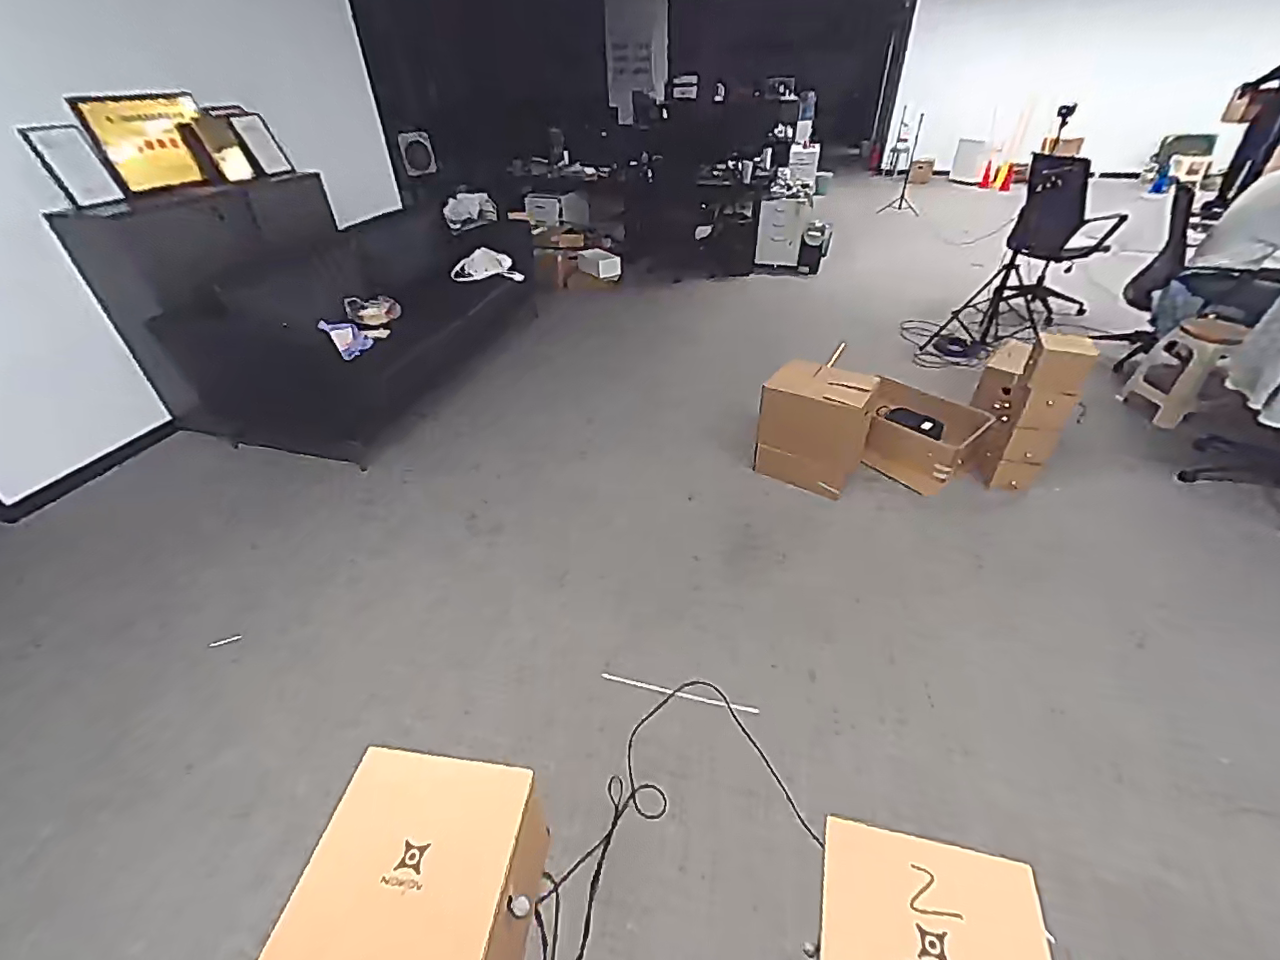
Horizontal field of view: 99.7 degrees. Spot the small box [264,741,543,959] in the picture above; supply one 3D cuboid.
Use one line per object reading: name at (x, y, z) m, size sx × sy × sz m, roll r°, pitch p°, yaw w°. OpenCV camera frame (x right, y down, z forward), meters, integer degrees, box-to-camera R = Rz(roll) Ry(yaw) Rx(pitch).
small box at (-0.193, 0.380, 0.508) m, size 0.168 × 0.176 × 0.179 m, roll 5°, pitch 39°, yaw 5°
